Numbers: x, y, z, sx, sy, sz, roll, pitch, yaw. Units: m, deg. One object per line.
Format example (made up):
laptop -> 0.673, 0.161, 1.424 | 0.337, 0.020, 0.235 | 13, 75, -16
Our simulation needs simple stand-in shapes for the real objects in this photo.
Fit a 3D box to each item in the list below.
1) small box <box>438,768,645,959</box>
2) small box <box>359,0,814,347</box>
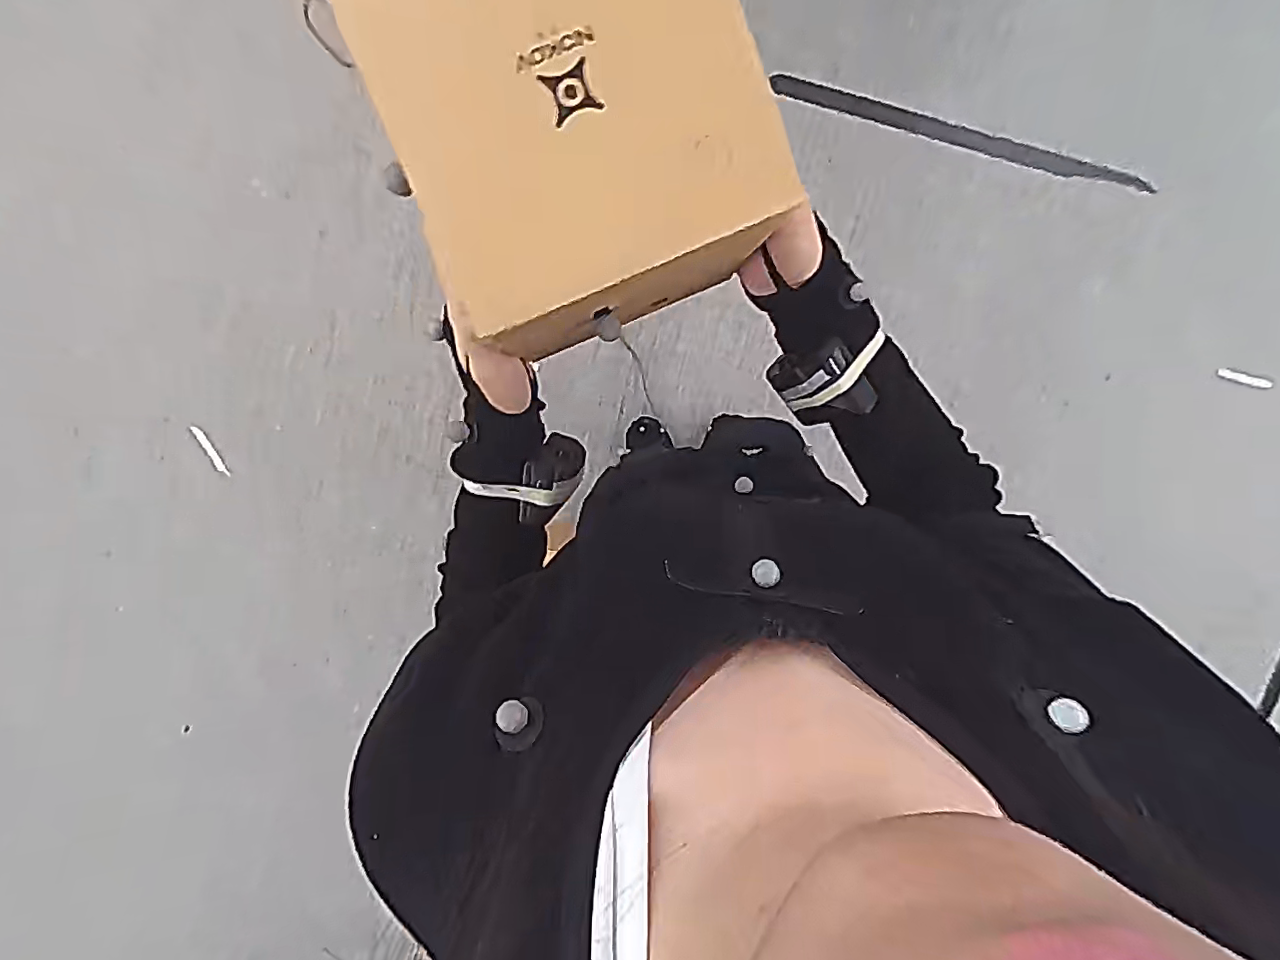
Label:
small box -> -0.082, 0.403, 0.514 | 0.168, 0.176, 0.179 | 2, 95, 1
small box -> -0.025, -0.188, 0.321 | 0.168, 0.176, 0.179 | -22, 98, 1
